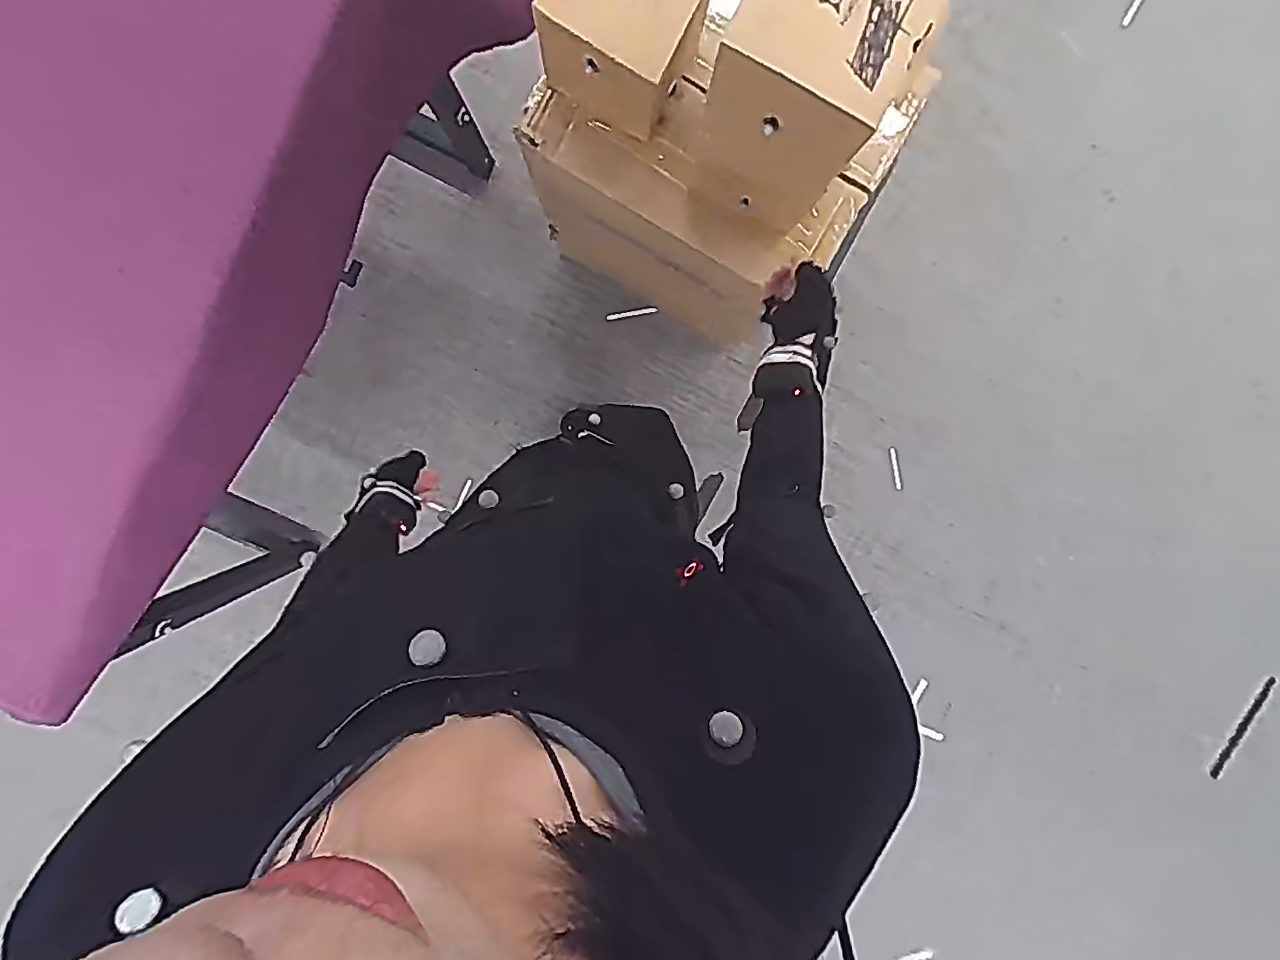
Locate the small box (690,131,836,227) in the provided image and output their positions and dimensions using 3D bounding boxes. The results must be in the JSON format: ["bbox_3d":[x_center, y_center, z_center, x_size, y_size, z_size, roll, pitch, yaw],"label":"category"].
[{"bbox_3d":[0.185,-0.480,0.754,0.179,0.176,0.168,21,96,-4],"label":"small box"}]

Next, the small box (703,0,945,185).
[{"bbox_3d":[0.187,-0.458,0.590,0.179,0.176,0.168,27,96,-3],"label":"small box"}]
